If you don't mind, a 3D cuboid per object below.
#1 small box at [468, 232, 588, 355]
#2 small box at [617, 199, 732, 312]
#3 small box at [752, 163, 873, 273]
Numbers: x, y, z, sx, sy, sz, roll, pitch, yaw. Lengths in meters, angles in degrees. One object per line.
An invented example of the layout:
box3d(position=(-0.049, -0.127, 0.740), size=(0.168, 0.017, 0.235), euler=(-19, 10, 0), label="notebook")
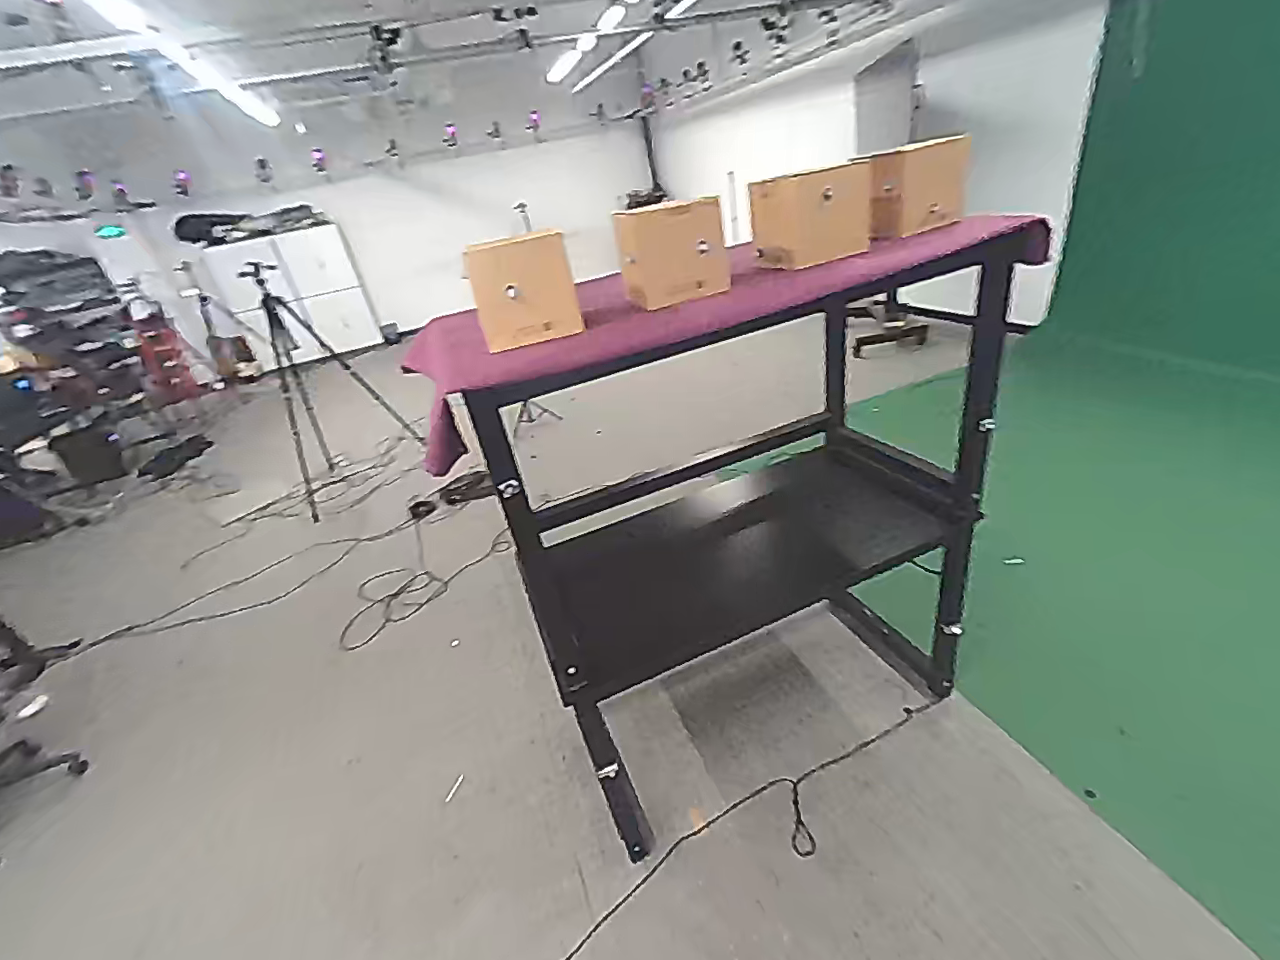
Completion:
box3d(position=(-0.199, -0.334, 0.970), size=(0.168, 0.176, 0.179), euler=(-16, 28, -7), label="small box")
box3d(position=(0.067, -0.430, 1.040), size=(0.168, 0.176, 0.179), euler=(-16, 28, -8), label="small box")
box3d(position=(0.355, -0.531, 1.110), size=(0.179, 0.176, 0.168), euler=(-19, 29, -14), label="small box")
